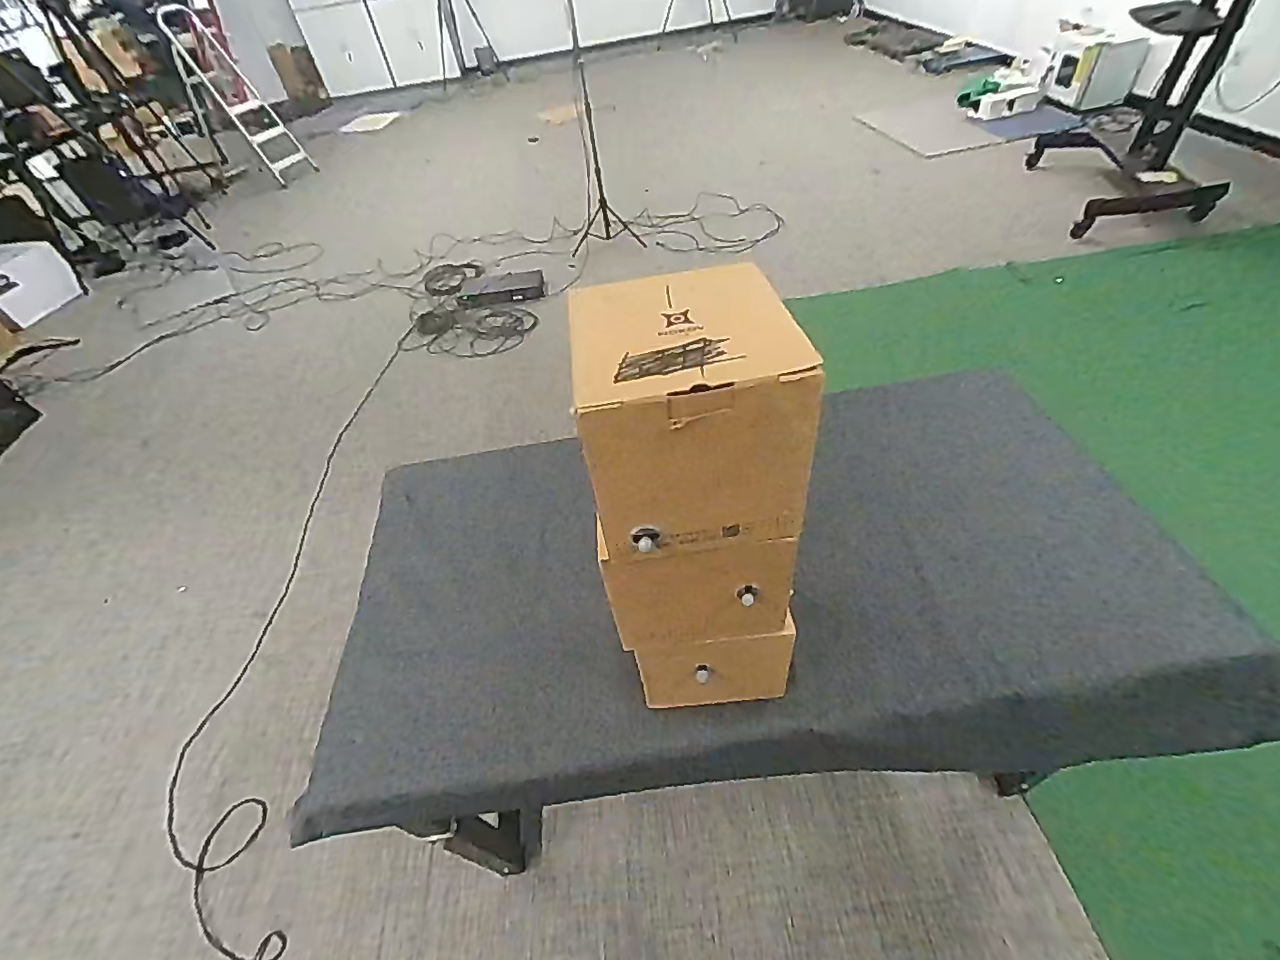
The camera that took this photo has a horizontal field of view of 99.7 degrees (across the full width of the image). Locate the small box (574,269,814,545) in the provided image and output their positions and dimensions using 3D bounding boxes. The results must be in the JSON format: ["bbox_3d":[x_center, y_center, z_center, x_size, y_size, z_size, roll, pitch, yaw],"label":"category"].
[{"bbox_3d":[0.038,-0.058,0.474,0.168,0.176,0.179,-8,44,0],"label":"small box"}]

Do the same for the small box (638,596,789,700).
[{"bbox_3d":[0.085,0.171,0.702,0.179,0.176,0.168,-6,46,3],"label":"small box"}]

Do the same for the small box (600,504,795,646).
[{"bbox_3d":[0.054,0.061,0.587,0.179,0.176,0.168,-8,44,2],"label":"small box"}]
